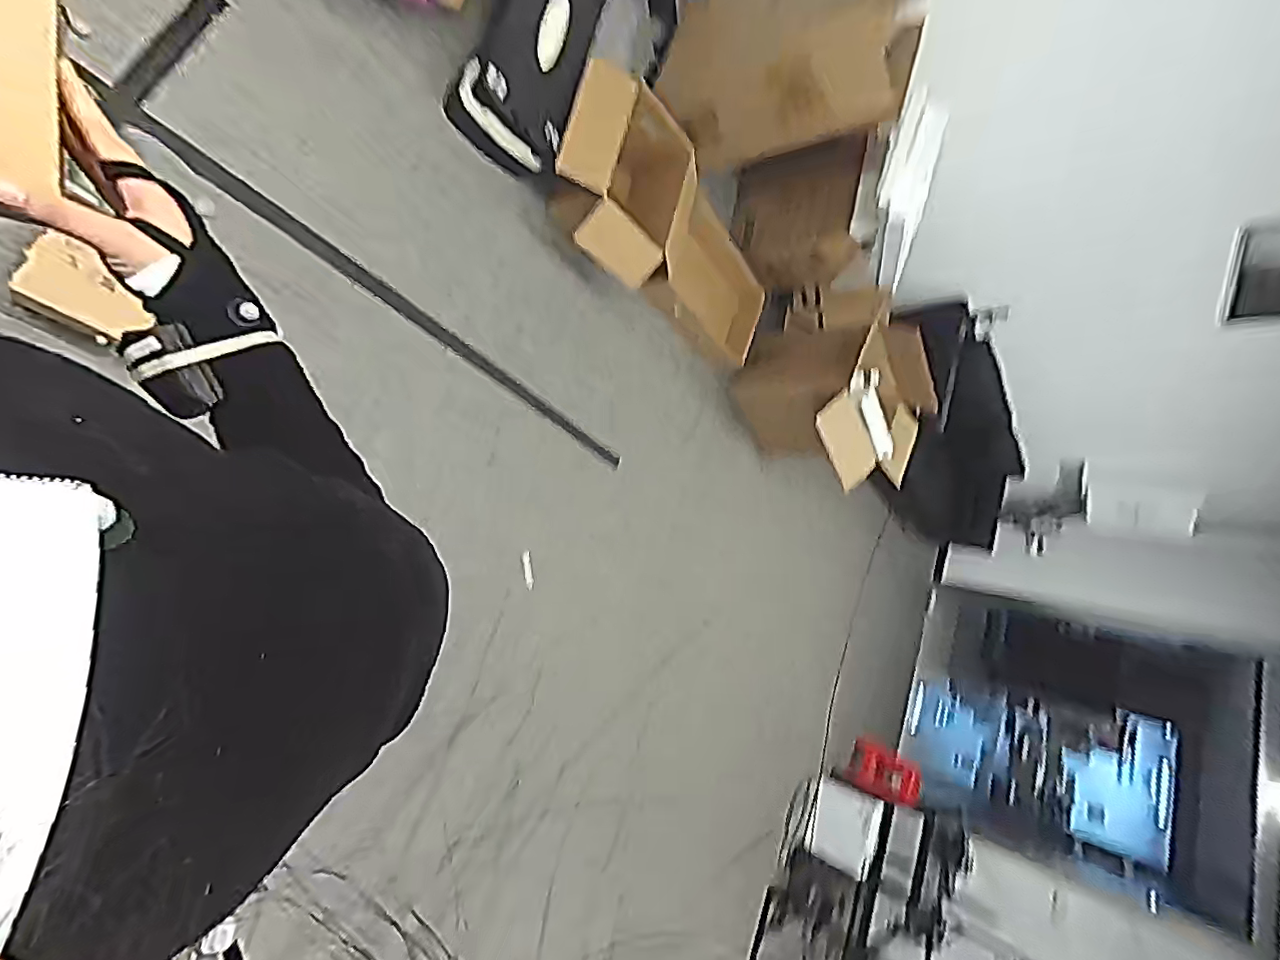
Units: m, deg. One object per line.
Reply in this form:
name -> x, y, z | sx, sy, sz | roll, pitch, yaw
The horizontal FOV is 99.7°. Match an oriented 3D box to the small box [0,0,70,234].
small box -> -0.470, -0.271, 0.329 | 0.168, 0.176, 0.179 | -2, 103, -45

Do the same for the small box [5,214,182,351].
small box -> -1.013, -0.356, 1.010 | 0.179, 0.176, 0.168 | 35, 69, -44
